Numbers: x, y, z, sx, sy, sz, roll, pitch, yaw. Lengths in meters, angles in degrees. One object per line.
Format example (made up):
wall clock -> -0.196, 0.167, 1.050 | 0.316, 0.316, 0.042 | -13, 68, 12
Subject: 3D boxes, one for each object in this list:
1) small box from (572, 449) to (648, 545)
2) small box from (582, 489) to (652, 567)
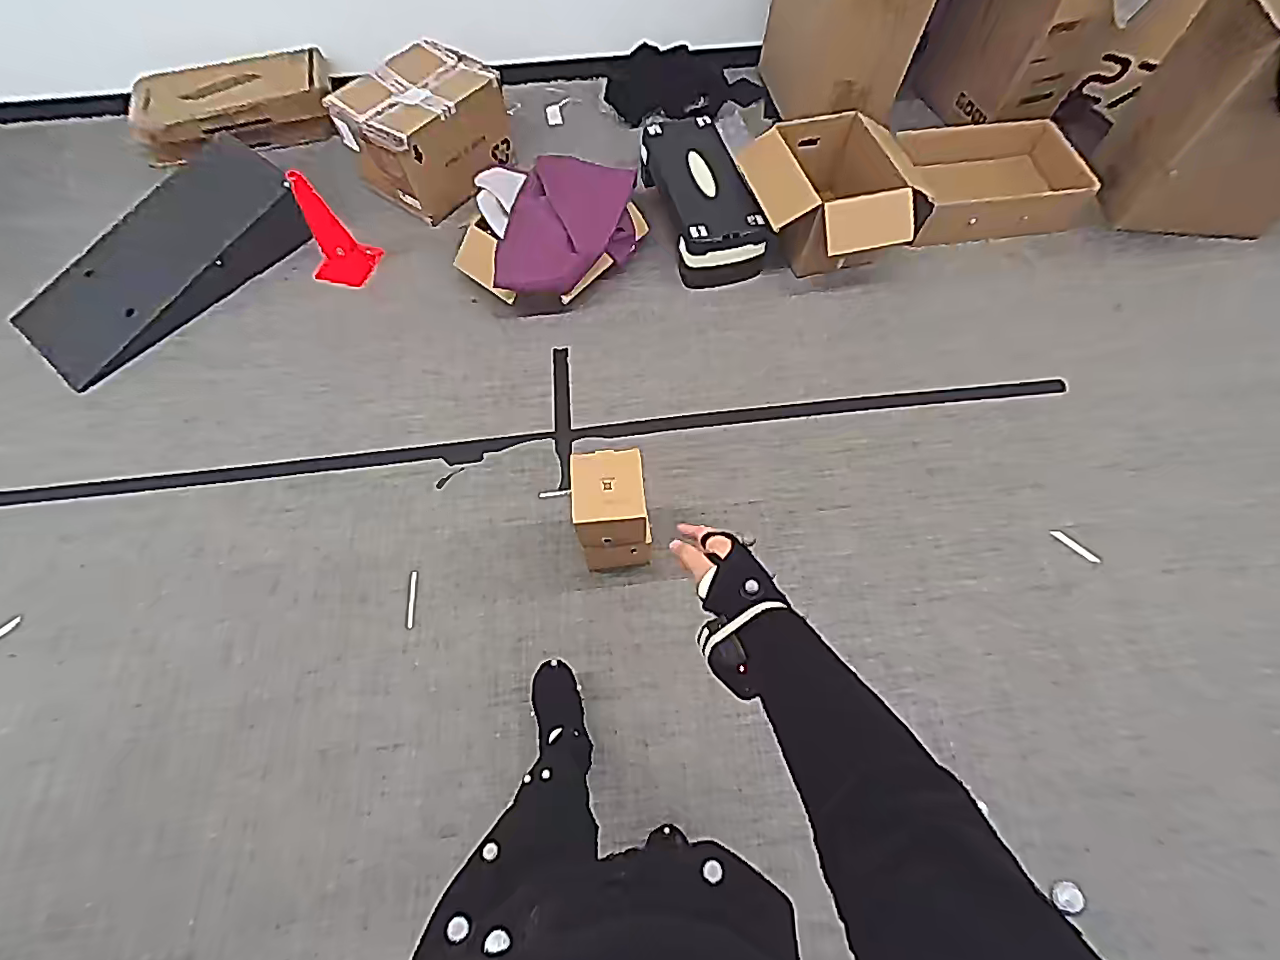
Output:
small box -> -0.072, 0.044, 1.299 | 0.168, 0.176, 0.179 | -5, 66, -1
small box -> -0.065, 0.124, 1.441 | 0.179, 0.176, 0.168 | -7, 65, -3
